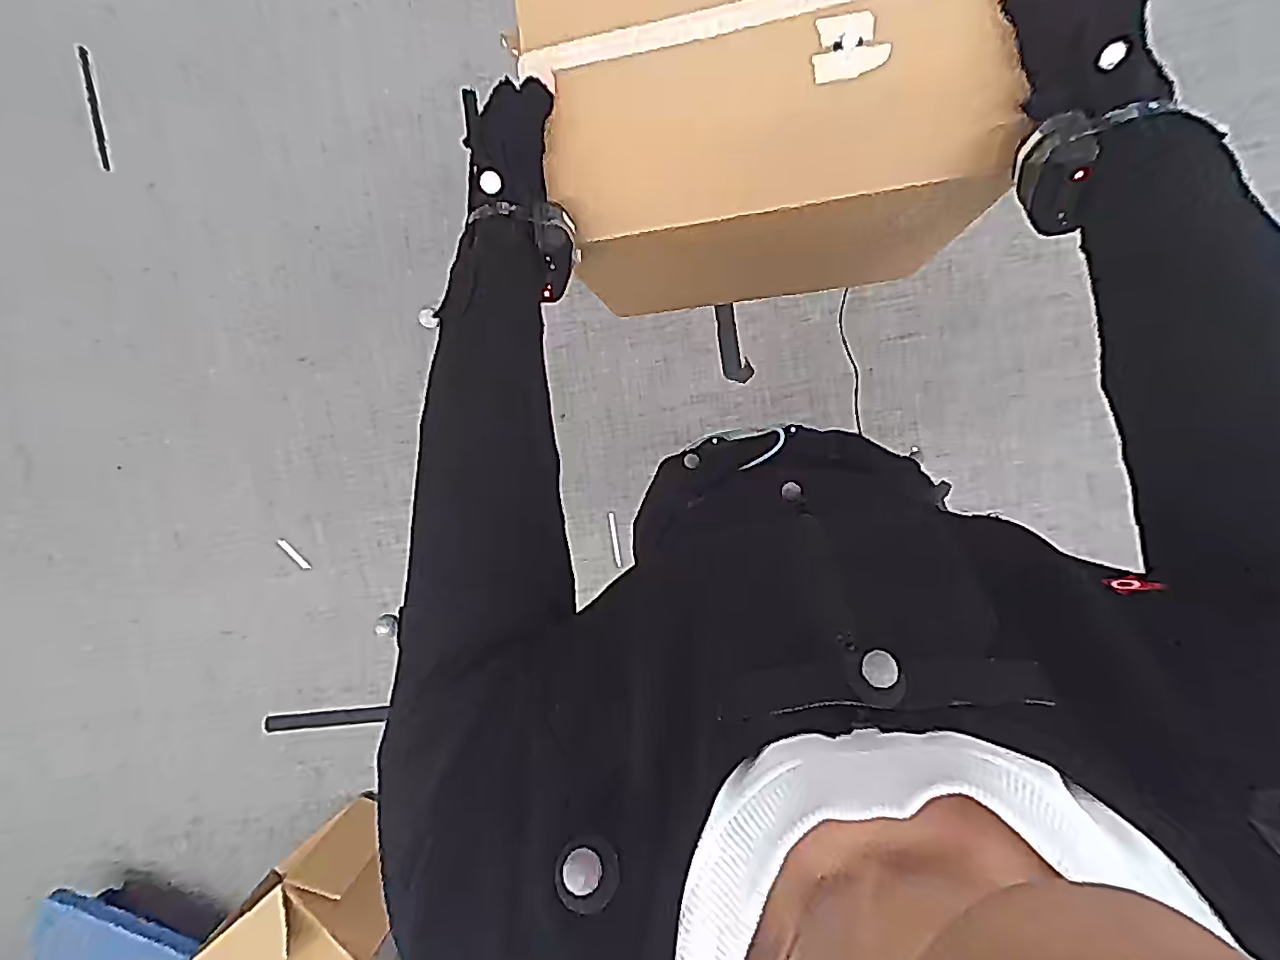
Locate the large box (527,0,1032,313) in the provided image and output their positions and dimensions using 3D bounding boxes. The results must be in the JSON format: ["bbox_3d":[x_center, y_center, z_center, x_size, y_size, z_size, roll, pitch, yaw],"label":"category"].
[{"bbox_3d":[0.121,-0.400,0.599,0.408,0.320,0.320,-6,94,9],"label":"large box"}]
